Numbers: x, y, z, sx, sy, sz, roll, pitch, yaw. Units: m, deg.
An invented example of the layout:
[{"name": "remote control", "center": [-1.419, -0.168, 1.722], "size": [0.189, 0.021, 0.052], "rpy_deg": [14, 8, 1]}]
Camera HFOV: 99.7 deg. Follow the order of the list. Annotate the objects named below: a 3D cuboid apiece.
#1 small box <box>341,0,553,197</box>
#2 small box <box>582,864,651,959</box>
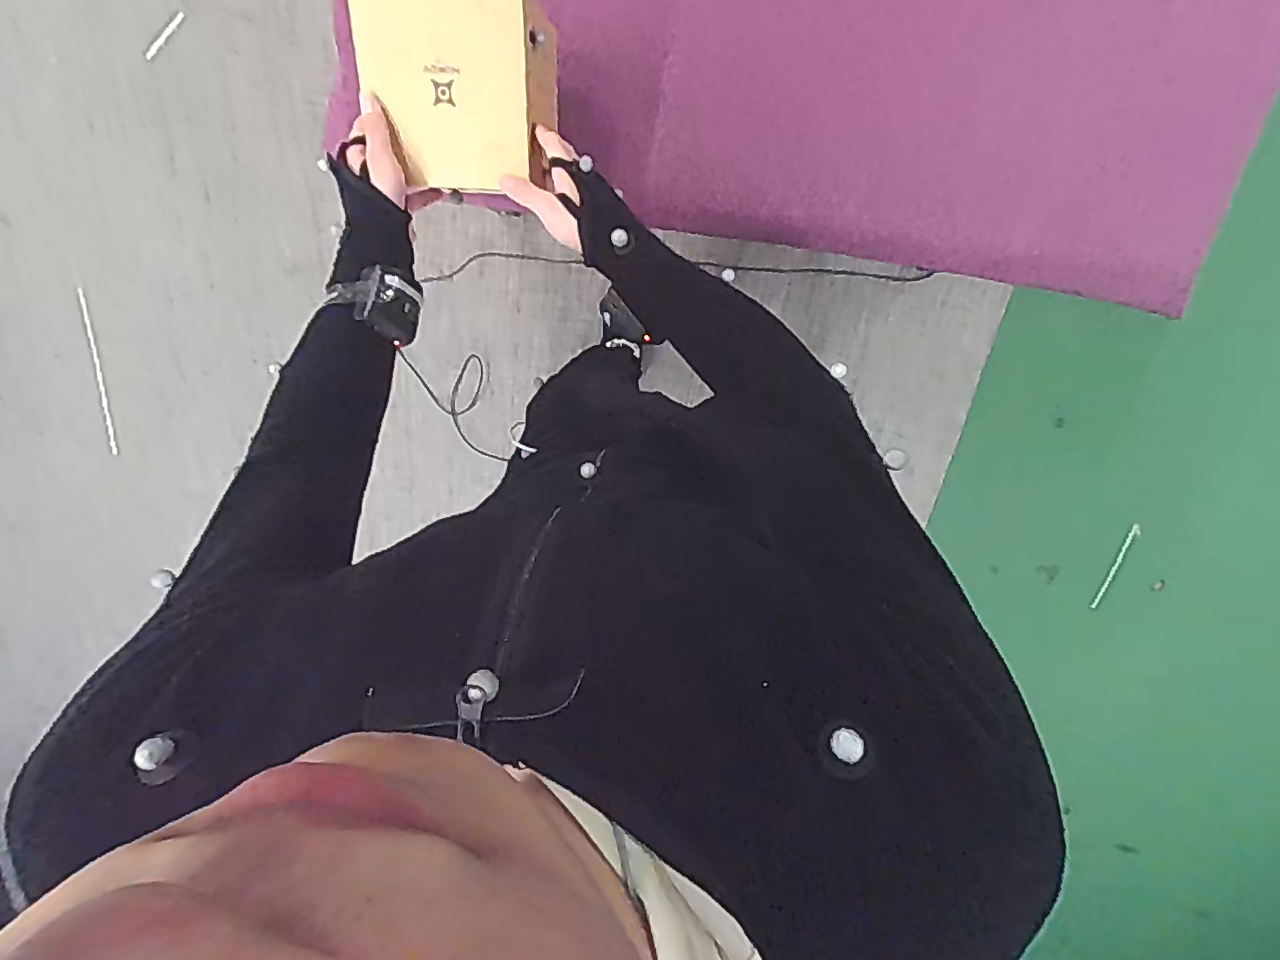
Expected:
[{"name": "small box", "center": [-0.193, -0.415, 0.595], "size": [0.168, 0.176, 0.179], "rpy_deg": [3, 115, 1]}, {"name": "small box", "center": [-0.067, 1.279, 1.595], "size": [0.168, 0.176, 0.179], "rpy_deg": [13, 109, -3]}]
